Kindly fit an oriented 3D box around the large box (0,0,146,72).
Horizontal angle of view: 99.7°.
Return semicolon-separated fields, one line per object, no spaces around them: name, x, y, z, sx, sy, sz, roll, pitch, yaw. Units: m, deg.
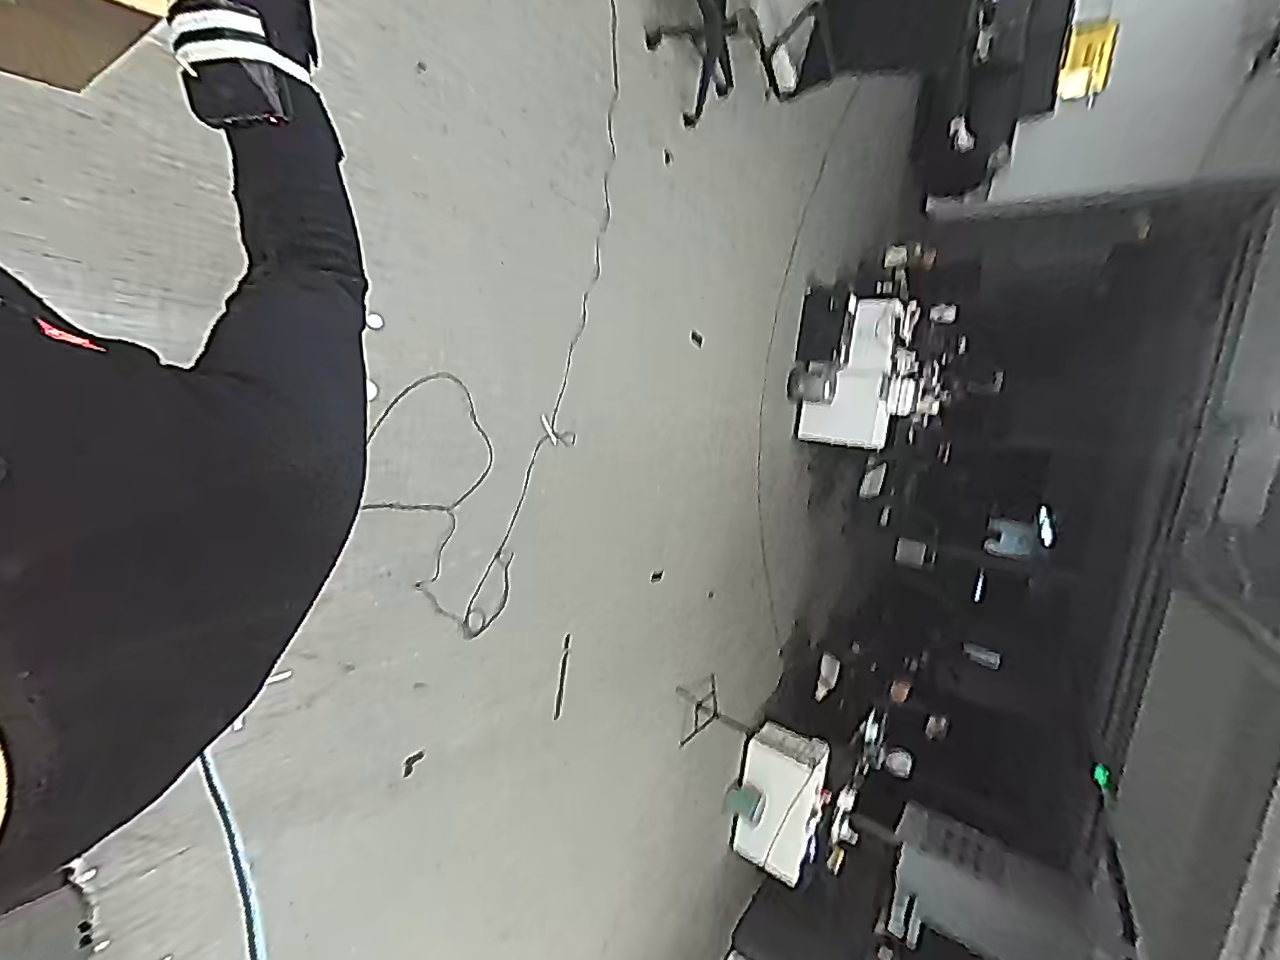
large box;-0.525;-0.454;0.230;0.408;0.320;0.320;-14;117;-51
